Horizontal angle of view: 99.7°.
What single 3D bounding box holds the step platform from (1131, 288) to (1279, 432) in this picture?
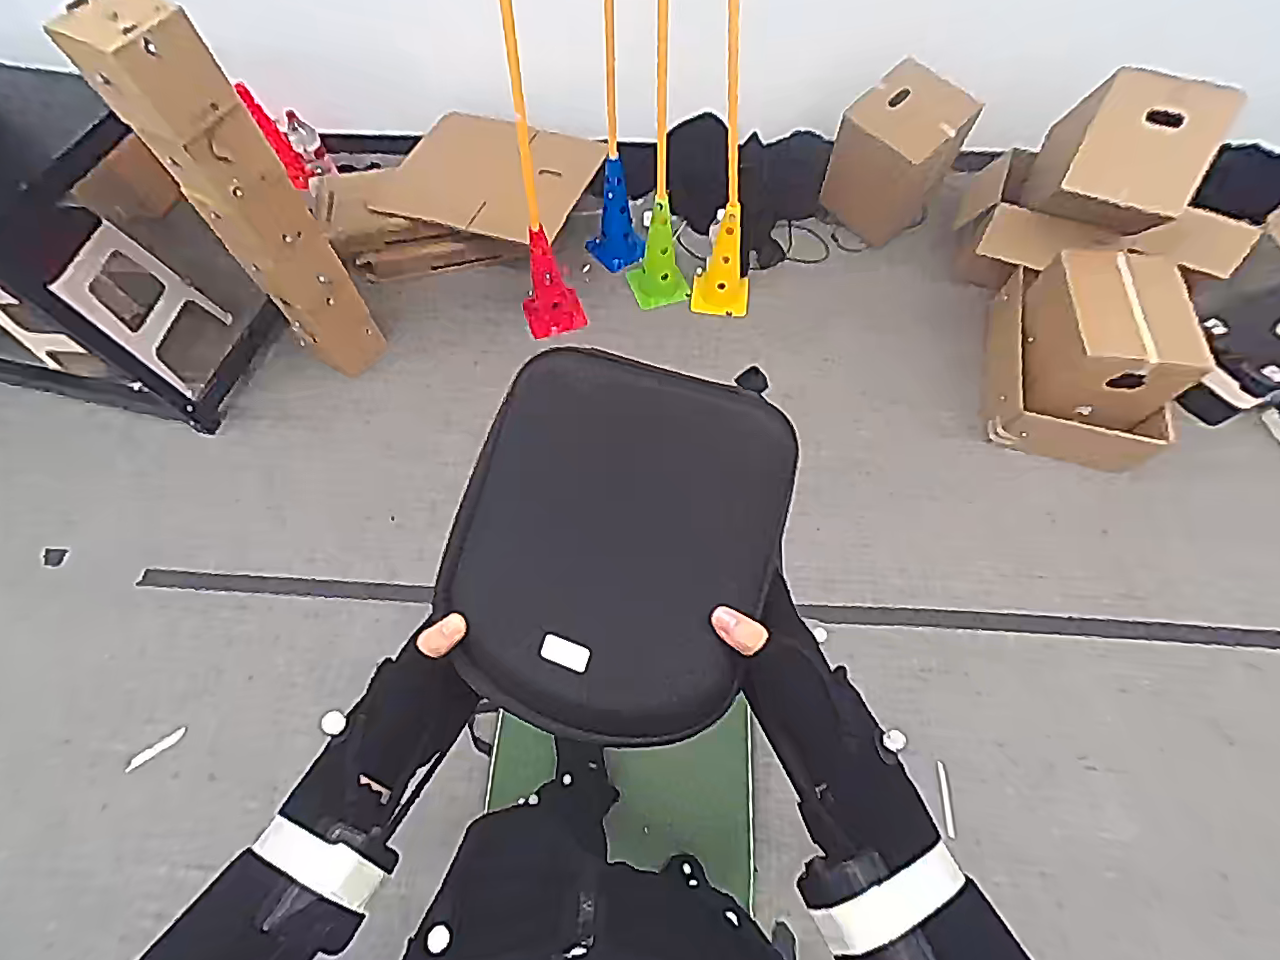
[{"bbox_3d":[1.992,-0.413,1.741,0.684,0.204,0.286,-23,65,-11],"label":"step platform"}]
